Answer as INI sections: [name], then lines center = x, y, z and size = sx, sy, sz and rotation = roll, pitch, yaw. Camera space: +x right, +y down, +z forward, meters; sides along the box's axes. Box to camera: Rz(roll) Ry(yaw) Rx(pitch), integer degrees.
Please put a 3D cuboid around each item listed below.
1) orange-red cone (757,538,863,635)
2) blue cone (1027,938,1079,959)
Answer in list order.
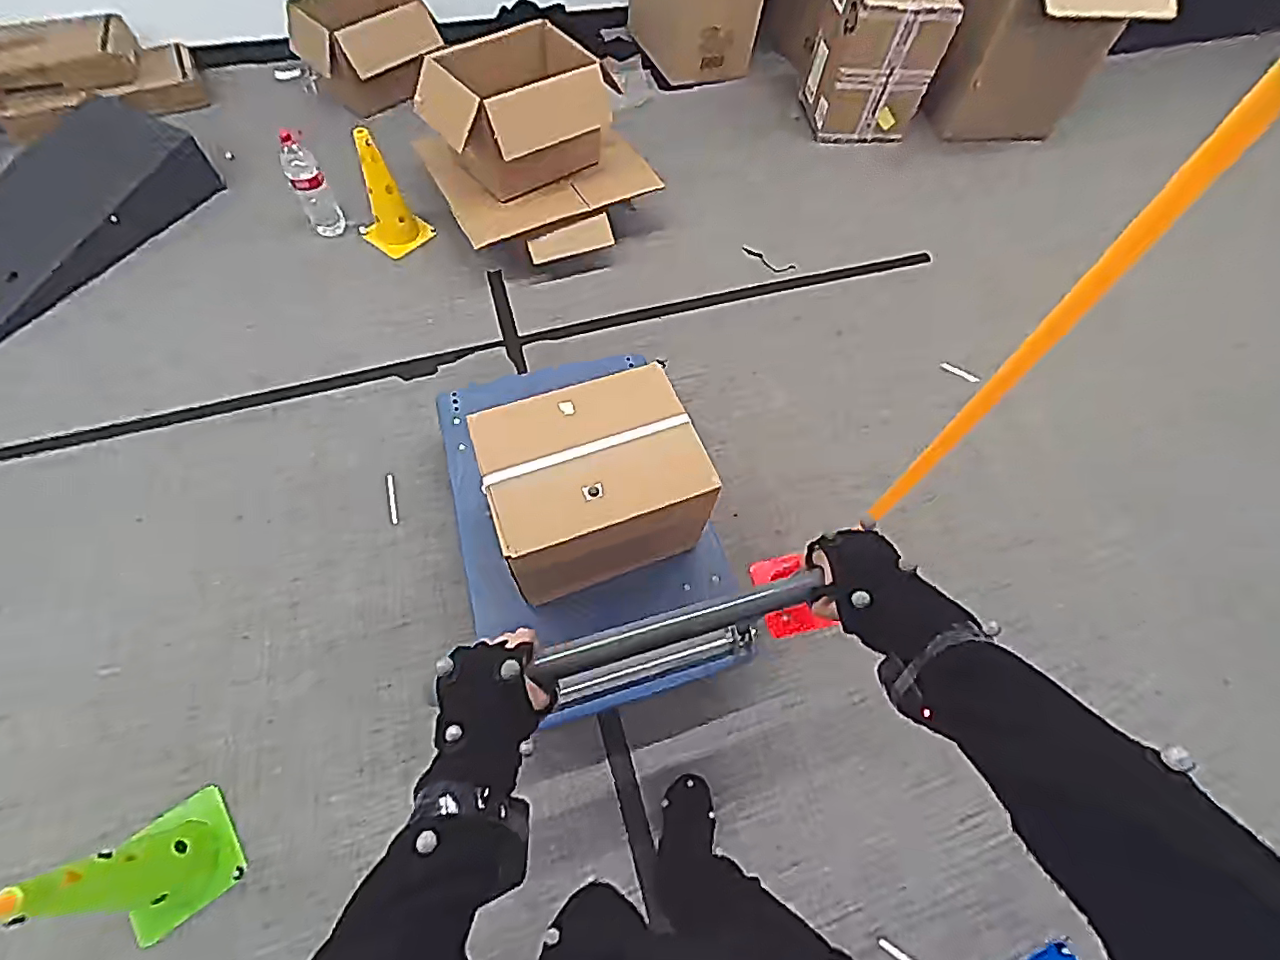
[orange-red cone]
center = 0.424, 0.212, 1.247
size = 0.199, 0.360, 0.198
rotation = -8, 64, -9
[blue cone]
center = 0.821, 0.954, 0.896
size = 0.193, 0.380, 0.192
rotation = -18, 64, -13
